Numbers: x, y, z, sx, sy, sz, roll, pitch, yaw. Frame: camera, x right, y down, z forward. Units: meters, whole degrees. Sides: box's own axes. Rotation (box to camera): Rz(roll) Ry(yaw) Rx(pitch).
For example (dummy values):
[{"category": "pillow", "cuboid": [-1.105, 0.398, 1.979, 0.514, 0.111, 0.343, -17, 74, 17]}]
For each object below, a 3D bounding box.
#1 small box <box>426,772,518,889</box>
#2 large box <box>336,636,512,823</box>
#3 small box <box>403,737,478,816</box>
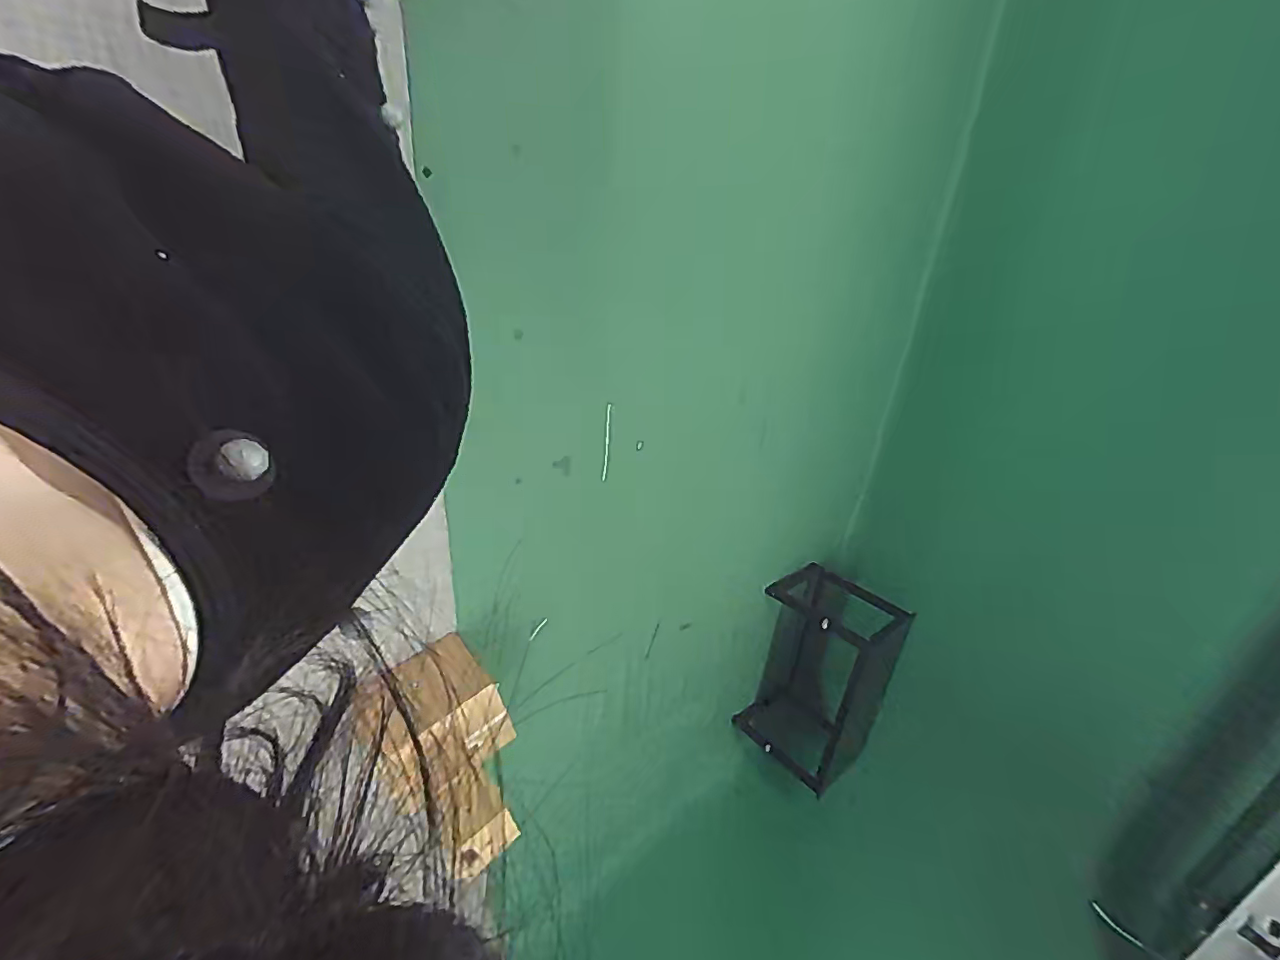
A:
[{"category": "small box", "cuboid": [-0.472, 0.967, 1.504, 0.179, 0.176, 0.168, -31, 130, -30]}, {"category": "large box", "cuboid": [-0.708, 0.812, 1.803, 0.408, 0.320, 0.320, -32, 132, -32]}, {"category": "small box", "cuboid": [-0.578, 0.906, 1.612, 0.168, 0.176, 0.179, -30, 129, -31]}]
